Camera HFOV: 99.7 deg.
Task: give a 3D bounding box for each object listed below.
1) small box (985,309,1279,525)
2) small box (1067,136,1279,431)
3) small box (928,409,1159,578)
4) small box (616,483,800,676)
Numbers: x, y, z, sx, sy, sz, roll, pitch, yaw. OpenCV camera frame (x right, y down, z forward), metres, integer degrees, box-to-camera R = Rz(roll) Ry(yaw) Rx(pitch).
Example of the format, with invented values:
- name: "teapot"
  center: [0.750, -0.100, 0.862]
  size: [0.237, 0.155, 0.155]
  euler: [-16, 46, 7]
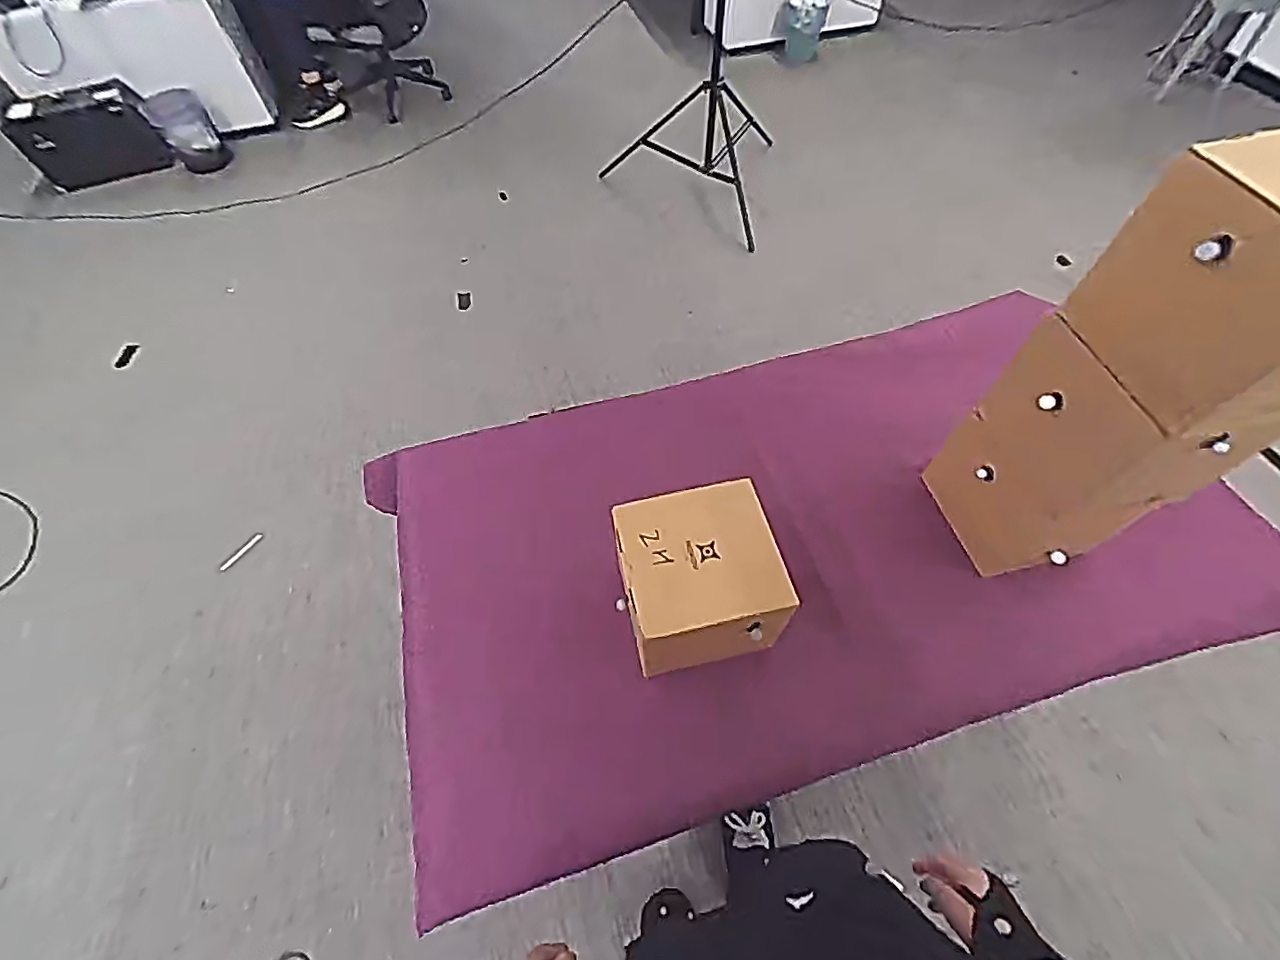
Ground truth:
- name: "small box"
  center: [0.527, -0.075, 0.590]
  size: [0.168, 0.176, 0.179]
  euler: [-11, 57, -4]
- name: "small box"
  center: [0.523, -0.157, 0.449]
  size: [0.168, 0.176, 0.179]
  euler: [-11, 58, -4]
- name: "small box"
  center: [0.531, 0.009, 0.731]
  size: [0.168, 0.176, 0.179]
  euler: [-12, 58, -5]
- name: "small box"
  center: [0.072, 0.129, 0.674]
  size: [0.179, 0.176, 0.168]
  euler: [-12, 57, -5]
